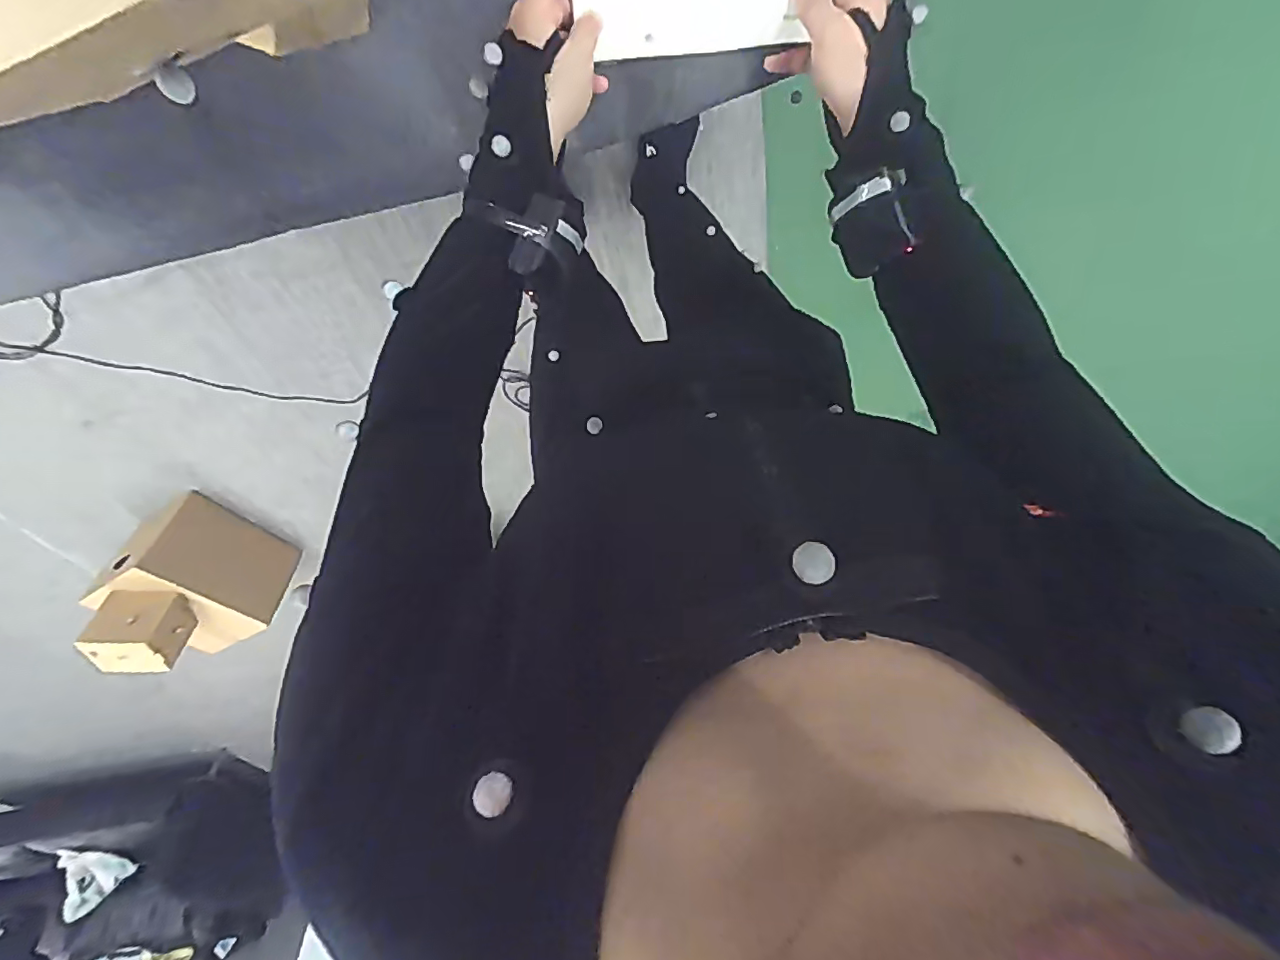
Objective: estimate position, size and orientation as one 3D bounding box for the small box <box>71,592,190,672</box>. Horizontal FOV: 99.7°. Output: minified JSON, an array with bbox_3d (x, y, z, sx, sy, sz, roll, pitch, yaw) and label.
[{"bbox_3d":[-1.457,0.439,1.567,0.179,0.176,0.168,3,133,-10],"label":"small box"}]
